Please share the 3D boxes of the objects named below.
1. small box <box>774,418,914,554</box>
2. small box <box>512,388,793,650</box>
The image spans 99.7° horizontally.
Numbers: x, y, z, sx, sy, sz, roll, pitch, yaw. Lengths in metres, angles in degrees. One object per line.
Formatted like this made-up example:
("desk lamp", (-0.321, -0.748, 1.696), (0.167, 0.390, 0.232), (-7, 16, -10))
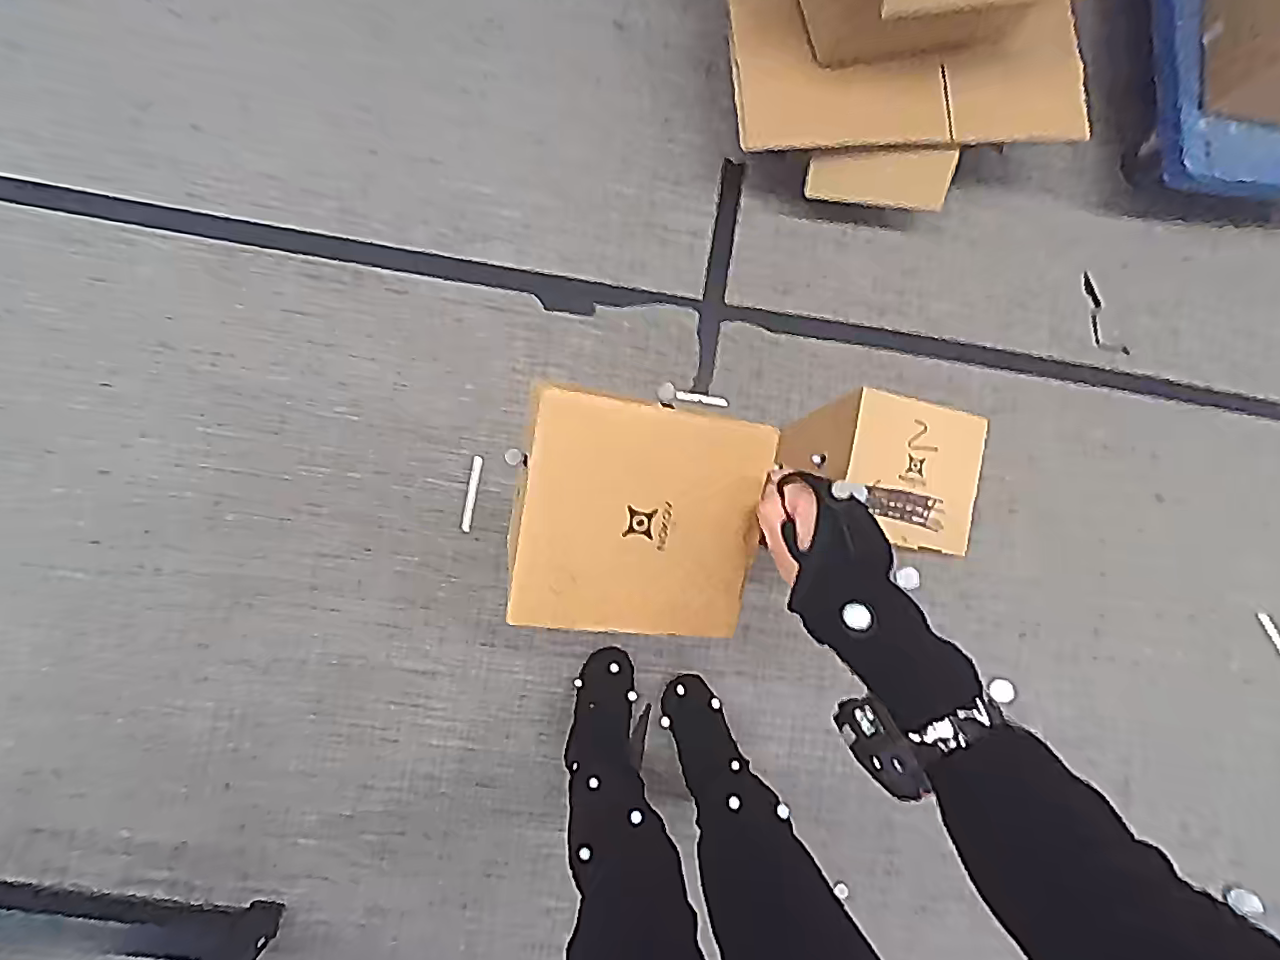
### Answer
("small box", (0.311, 0.015, 0.884), (0.168, 0.176, 0.179), (13, 84, -5))
("small box", (-0.007, 0.021, 0.444), (0.179, 0.176, 0.168), (8, 99, -16))
